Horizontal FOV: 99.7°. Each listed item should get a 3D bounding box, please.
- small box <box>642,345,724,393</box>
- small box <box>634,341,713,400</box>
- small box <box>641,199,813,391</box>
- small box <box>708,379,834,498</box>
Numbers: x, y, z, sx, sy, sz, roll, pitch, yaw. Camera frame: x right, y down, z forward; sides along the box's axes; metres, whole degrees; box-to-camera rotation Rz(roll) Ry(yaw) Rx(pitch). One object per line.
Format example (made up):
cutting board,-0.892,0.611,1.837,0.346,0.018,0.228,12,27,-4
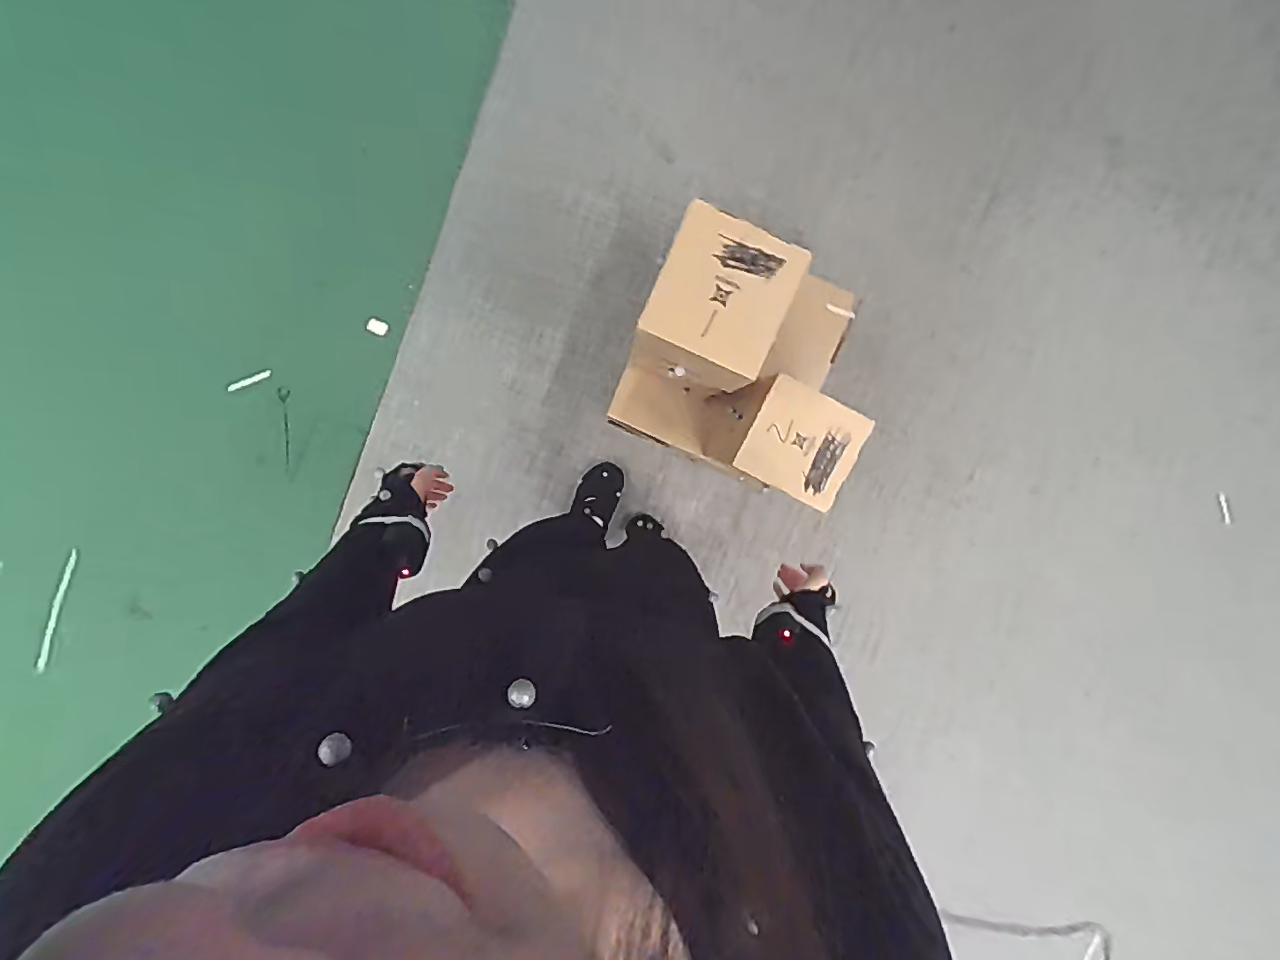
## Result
small box,0.106,-0.263,0.913,0.168,0.176,0.179,24,93,-2
small box,0.098,-0.272,1.076,0.168,0.176,0.179,25,92,-3
small box,0.106,-0.240,0.750,0.168,0.176,0.179,25,94,-3
small box,0.251,-0.081,1.088,0.168,0.176,0.179,26,92,-3
